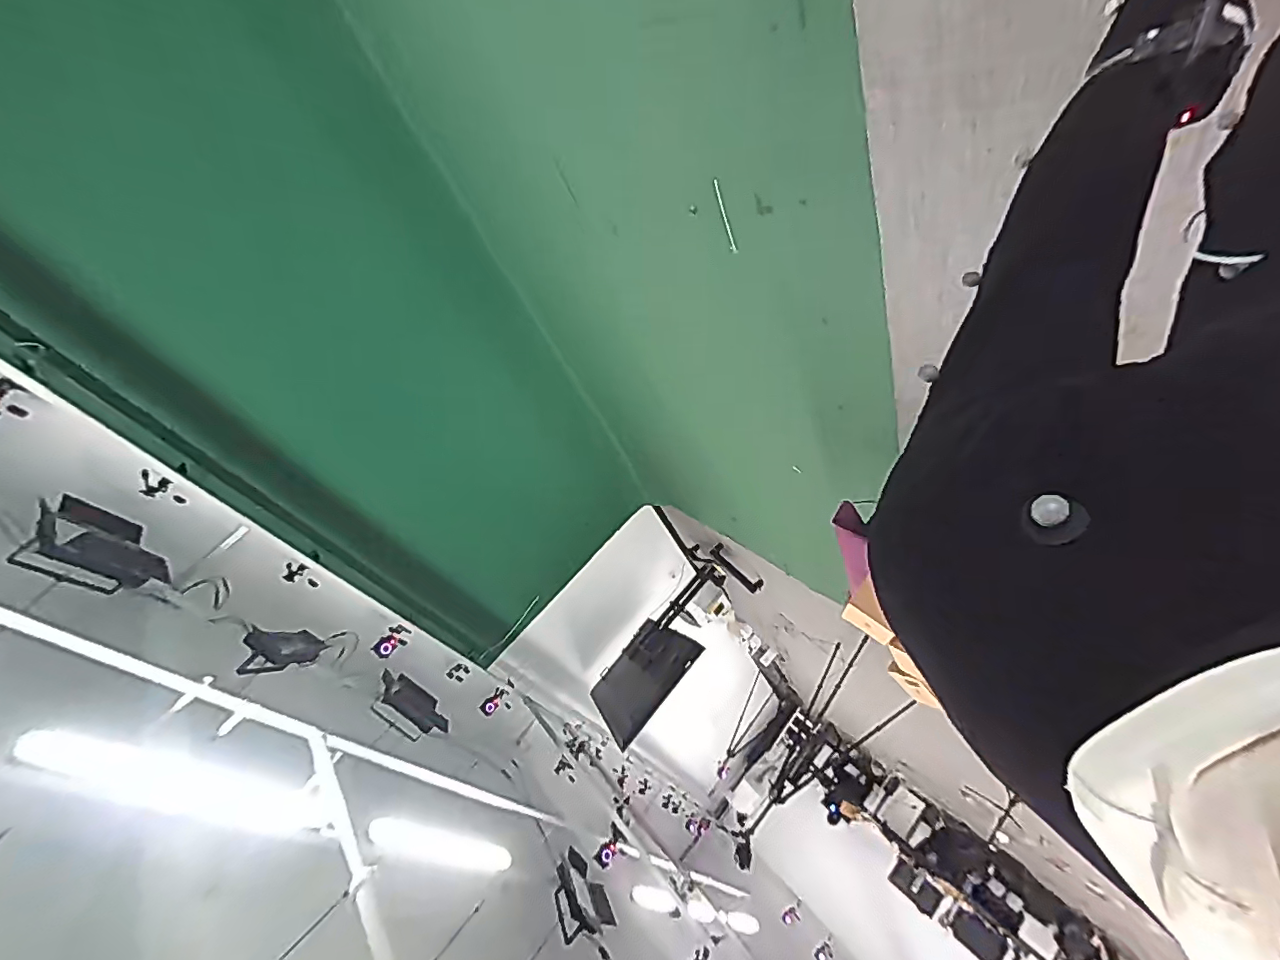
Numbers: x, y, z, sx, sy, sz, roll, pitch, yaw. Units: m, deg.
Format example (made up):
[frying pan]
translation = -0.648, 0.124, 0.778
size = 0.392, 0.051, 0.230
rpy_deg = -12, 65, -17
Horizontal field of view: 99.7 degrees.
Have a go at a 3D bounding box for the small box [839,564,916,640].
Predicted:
[small box]
translation = 0.795, 0.406, 1.813
size = 0.168, 0.176, 0.179
rpy_deg = 34, 165, 25
